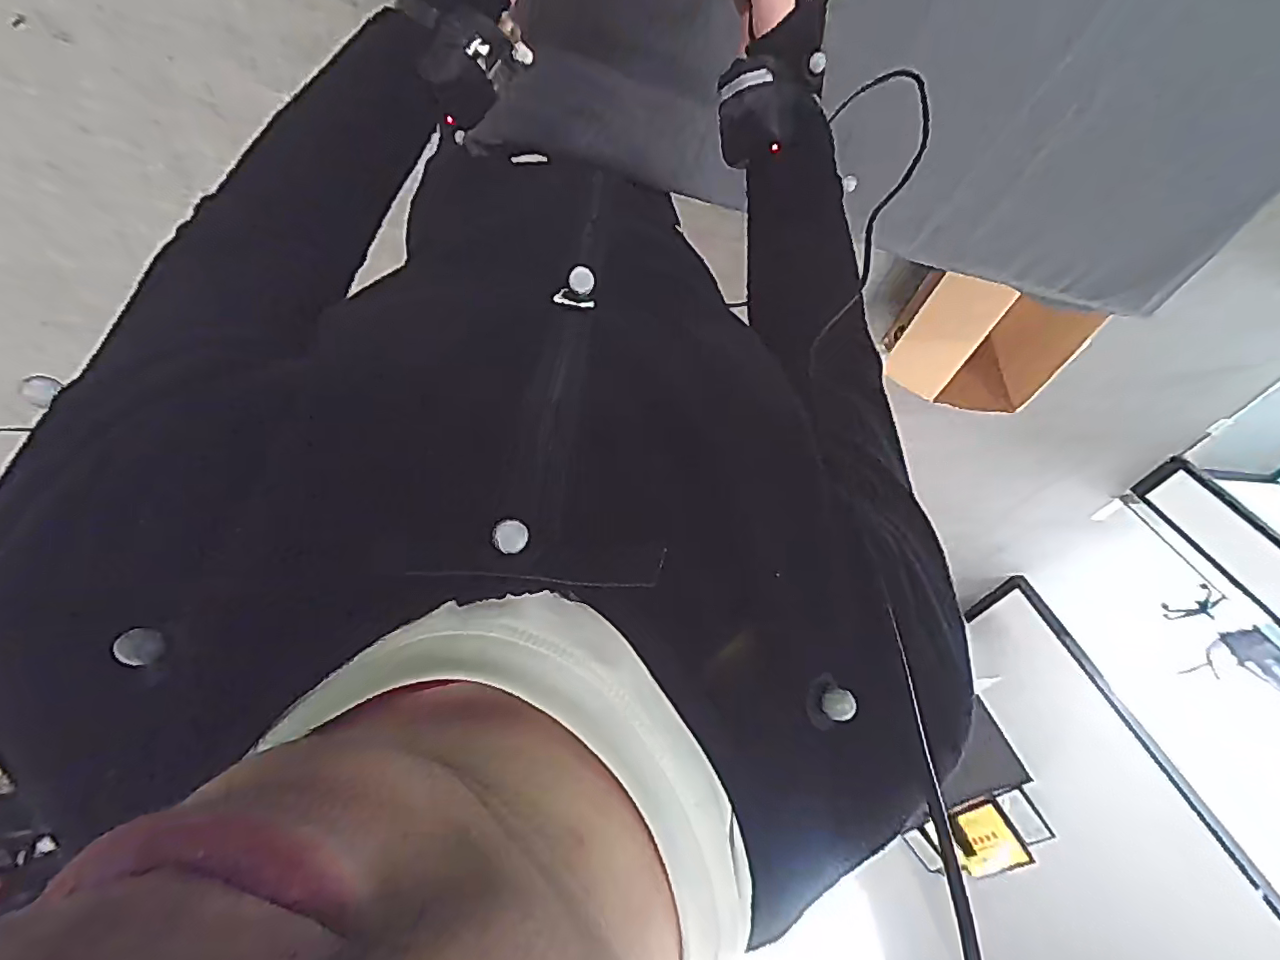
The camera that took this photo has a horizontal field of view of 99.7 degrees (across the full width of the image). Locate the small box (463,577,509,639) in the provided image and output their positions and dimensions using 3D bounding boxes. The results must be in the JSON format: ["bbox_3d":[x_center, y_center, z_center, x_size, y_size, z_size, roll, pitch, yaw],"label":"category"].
[{"bbox_3d":[-0.598,0.497,2.099,0.168,0.176,0.179,-2,138,-17],"label":"small box"}]
